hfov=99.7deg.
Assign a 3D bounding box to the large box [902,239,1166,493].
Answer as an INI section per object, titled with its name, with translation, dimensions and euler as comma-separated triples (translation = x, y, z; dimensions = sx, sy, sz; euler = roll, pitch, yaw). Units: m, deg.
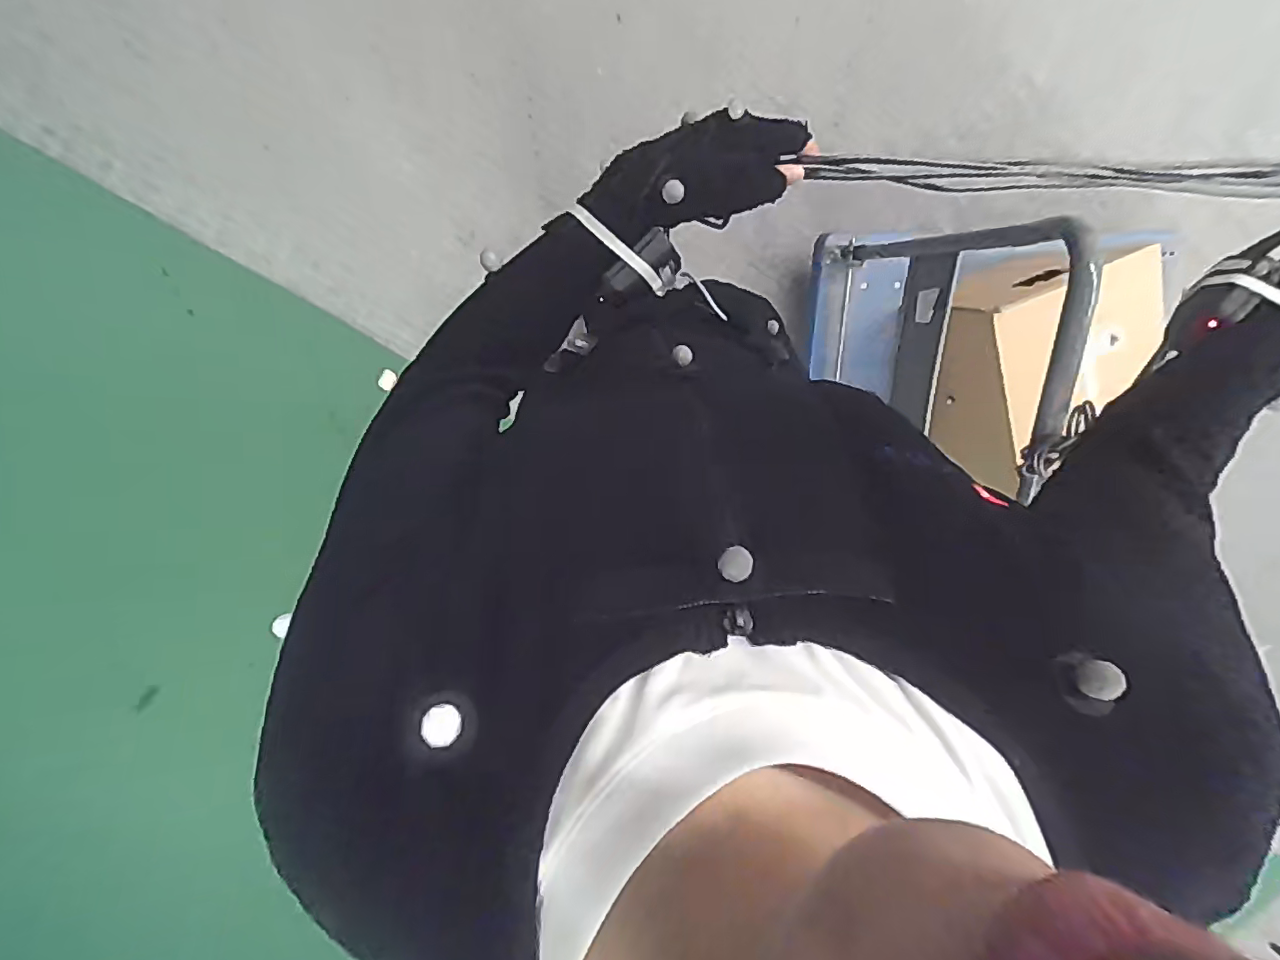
[large box]
translation = 0.827, -0.247, 1.168
dimensions = 0.320, 0.320, 0.408
euler = -23, 109, 3
